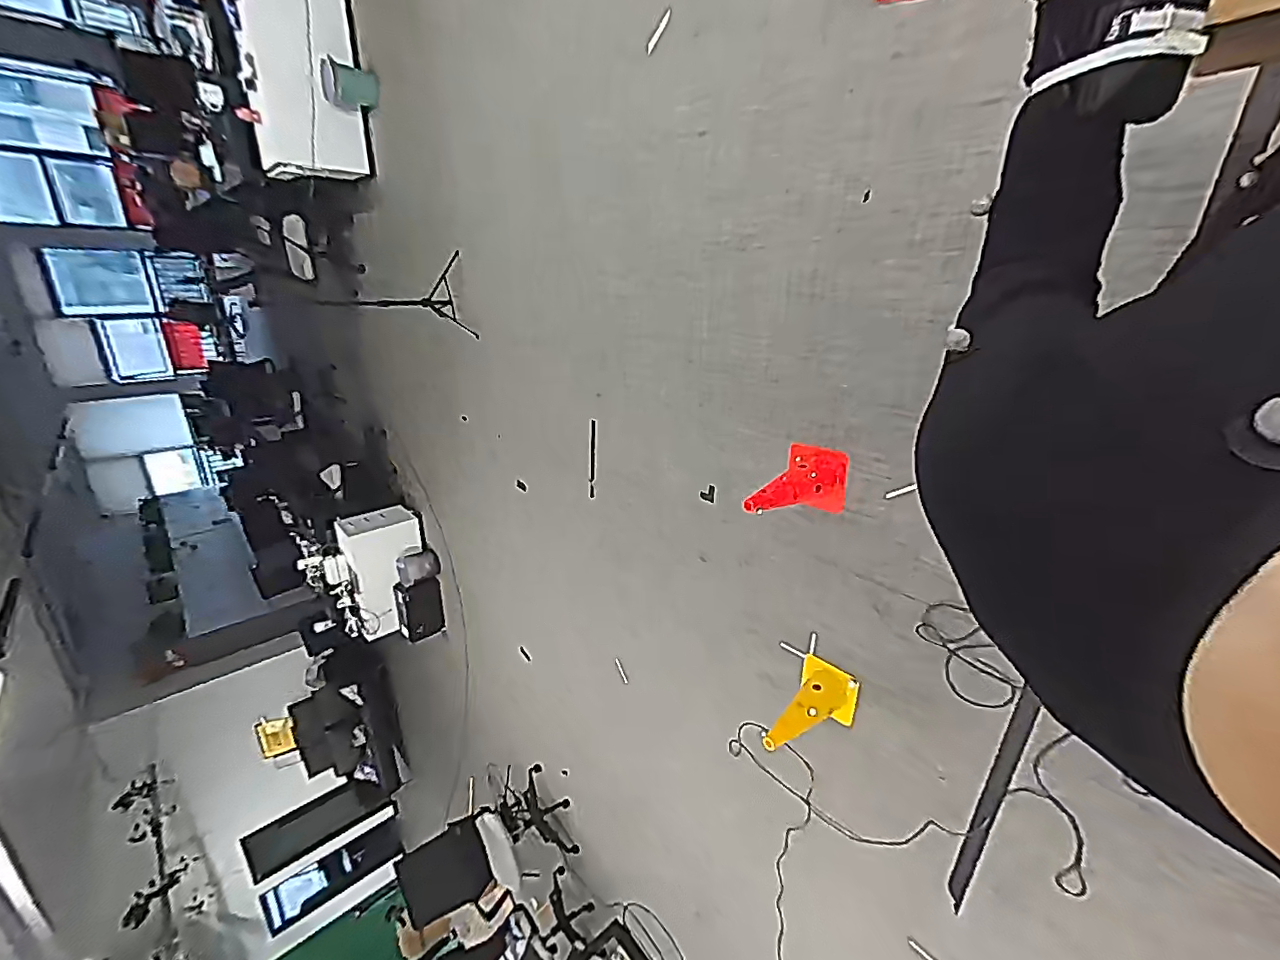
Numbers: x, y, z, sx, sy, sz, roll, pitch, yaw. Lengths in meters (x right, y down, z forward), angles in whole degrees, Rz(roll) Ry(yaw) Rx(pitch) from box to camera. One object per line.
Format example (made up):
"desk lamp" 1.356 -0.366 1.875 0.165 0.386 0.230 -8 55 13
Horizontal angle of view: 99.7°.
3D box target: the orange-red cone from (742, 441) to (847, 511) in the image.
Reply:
"orange-red cone" 0.428 0.028 1.604 0.198 0.360 0.199 21 120 45

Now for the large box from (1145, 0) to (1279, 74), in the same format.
"large box" 0.557 -0.448 0.254 0.408 0.320 0.320 18 125 44
